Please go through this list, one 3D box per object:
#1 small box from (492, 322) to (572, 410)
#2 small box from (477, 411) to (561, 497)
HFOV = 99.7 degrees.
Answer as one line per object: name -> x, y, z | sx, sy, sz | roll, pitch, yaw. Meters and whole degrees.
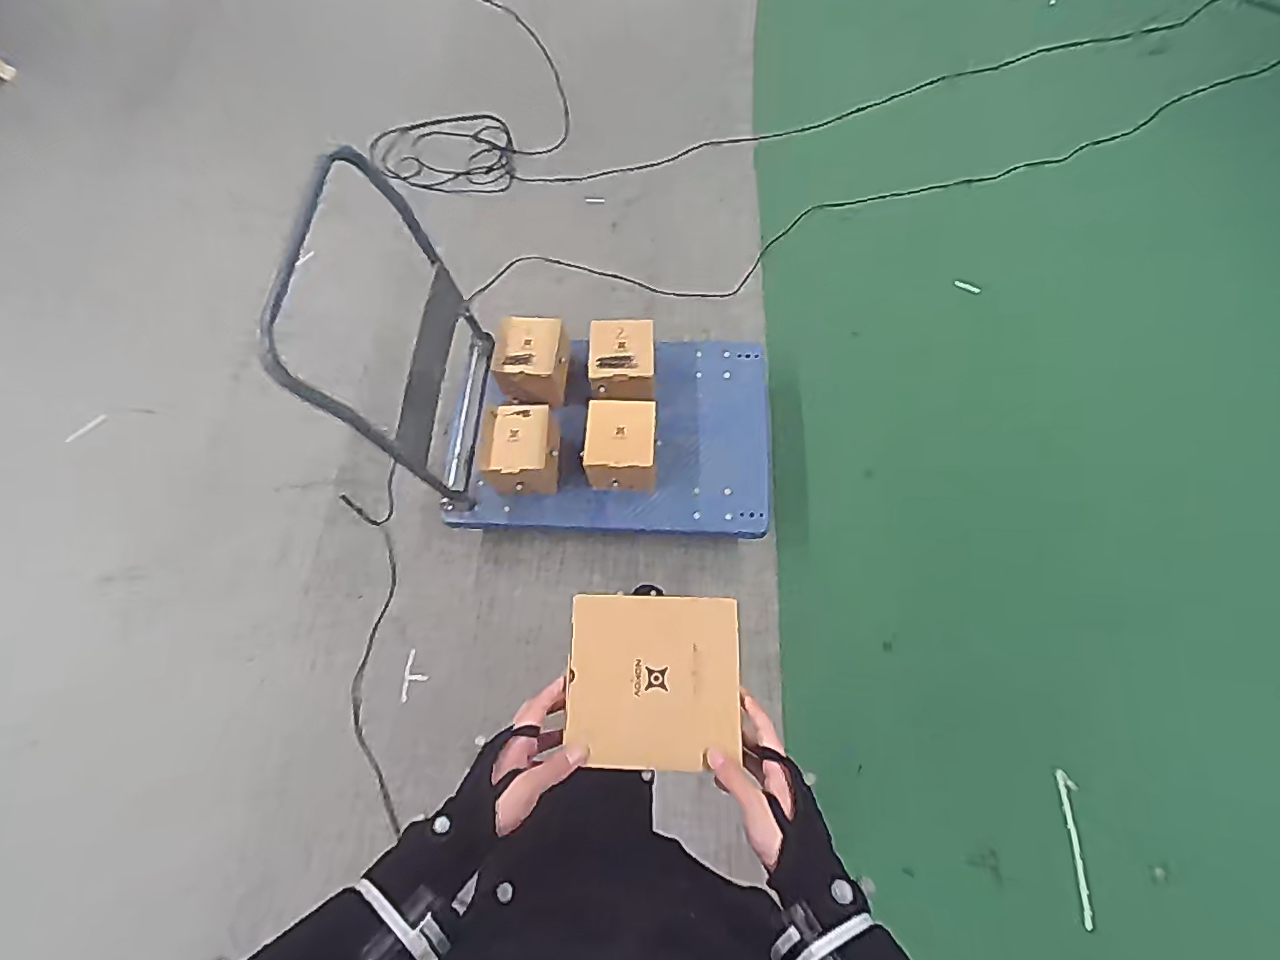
small box -> -0.286, -0.305, 1.475 | 0.168, 0.176, 0.179 | 4, 68, 4
small box -> -0.299, -0.061, 1.378 | 0.168, 0.176, 0.179 | 0, 69, 3
